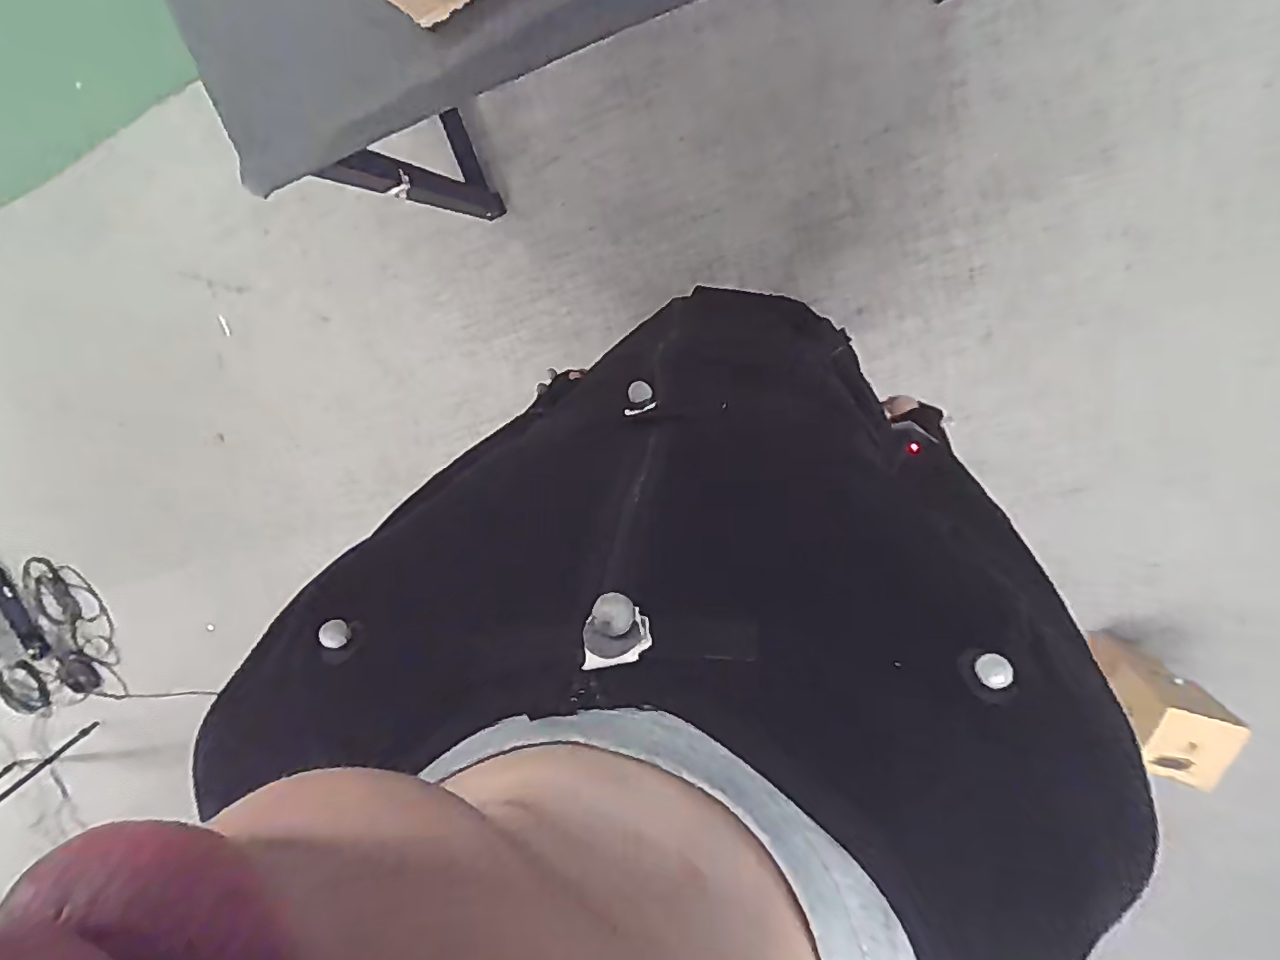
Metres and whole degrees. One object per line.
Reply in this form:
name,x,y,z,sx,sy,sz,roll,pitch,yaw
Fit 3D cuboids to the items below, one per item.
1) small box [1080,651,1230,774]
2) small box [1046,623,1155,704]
small box,1.198,0.542,1.279,0.168,0.176,0.179,15,110,7
small box,1.246,0.514,1.436,0.179,0.176,0.168,27,112,4
